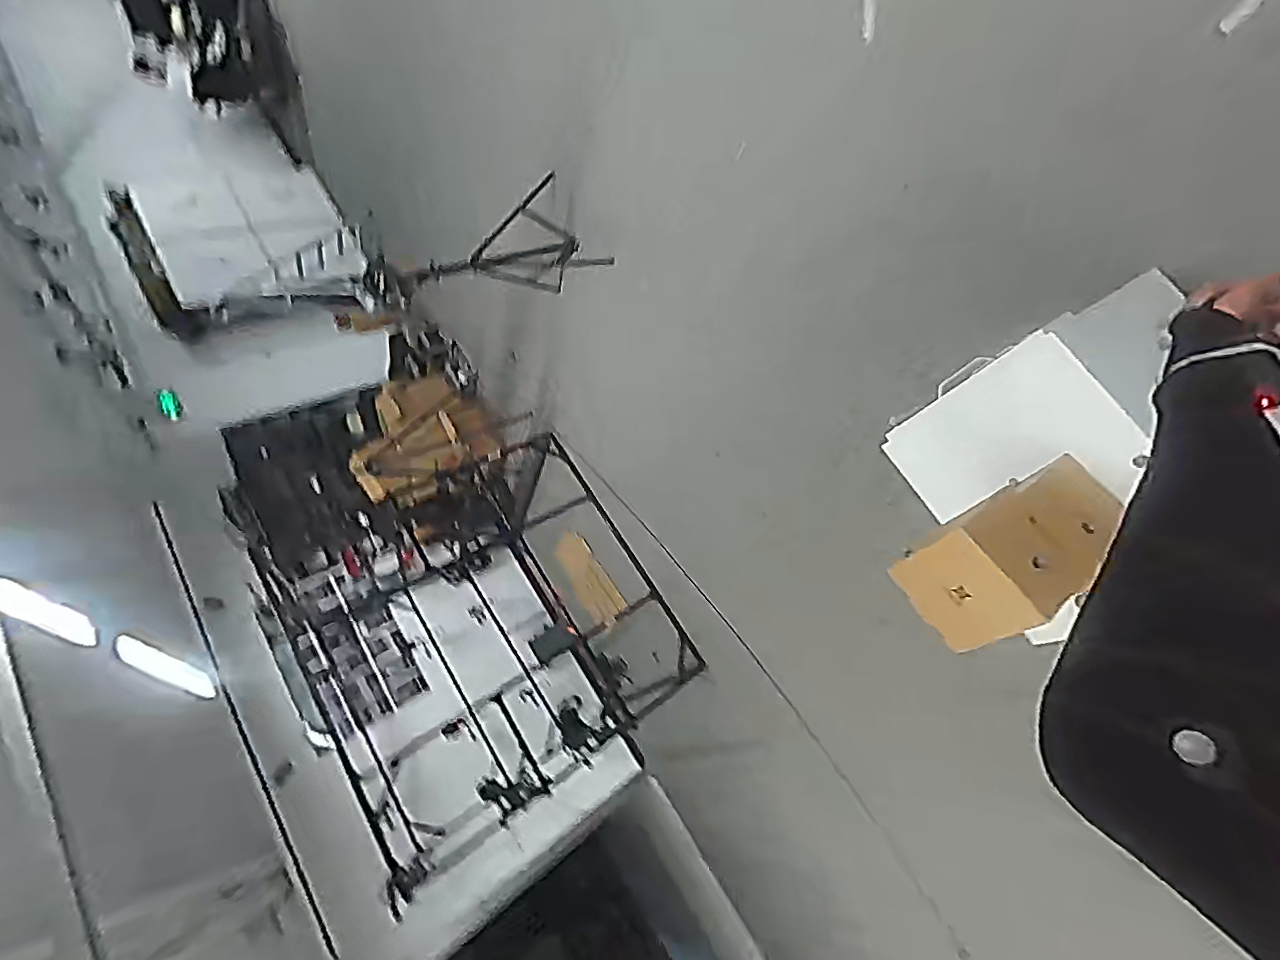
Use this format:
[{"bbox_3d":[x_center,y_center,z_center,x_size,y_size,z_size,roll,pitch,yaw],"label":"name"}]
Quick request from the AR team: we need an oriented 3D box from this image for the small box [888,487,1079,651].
[{"bbox_3d":[0.548,0.138,0.861,0.168,0.176,0.179,53,150,18],"label":"small box"}]

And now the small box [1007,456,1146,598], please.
[{"bbox_3d":[0.693,0.088,0.921,0.179,0.176,0.168,53,149,19],"label":"small box"}]
